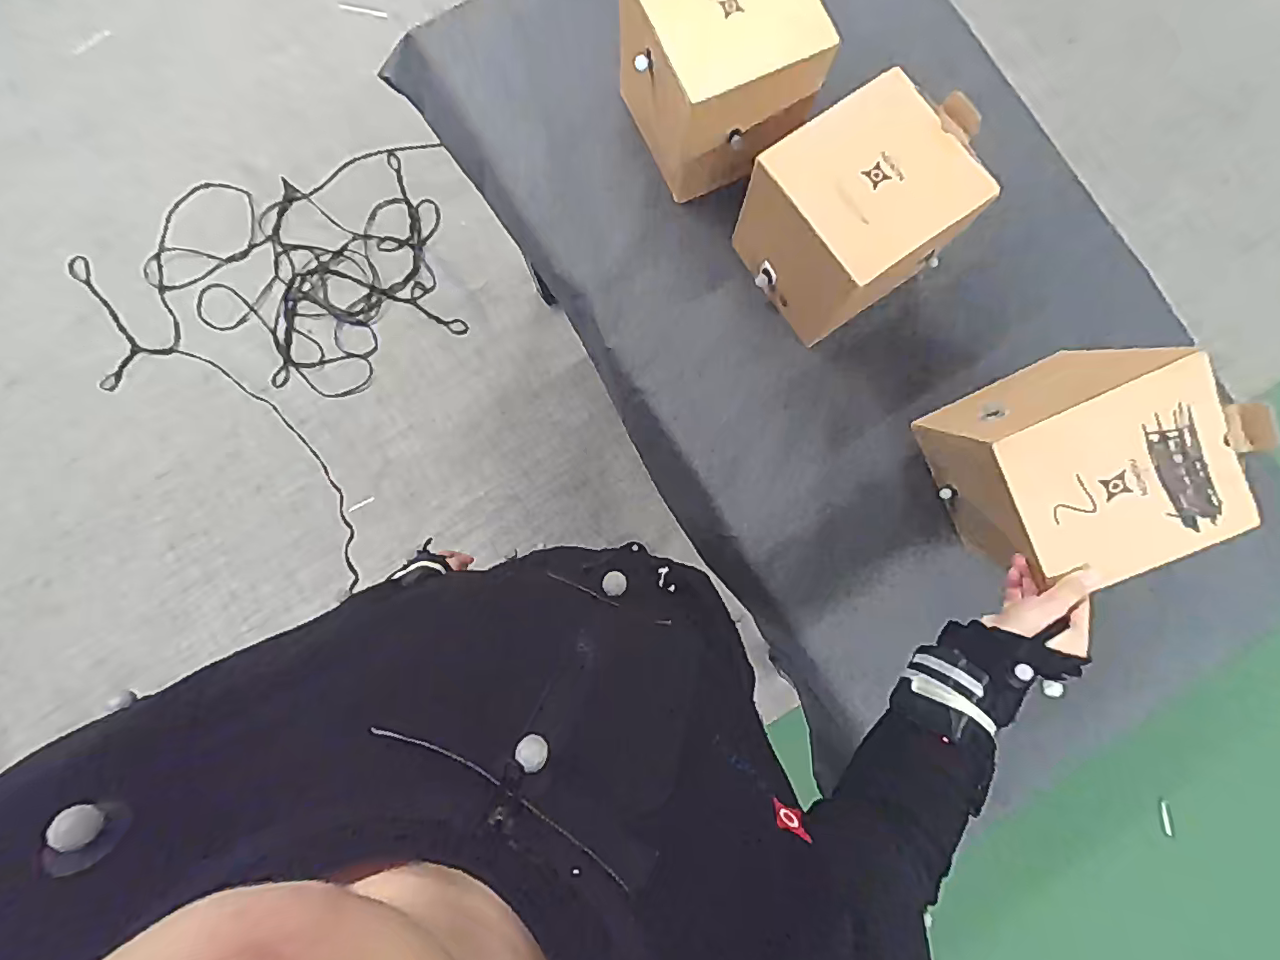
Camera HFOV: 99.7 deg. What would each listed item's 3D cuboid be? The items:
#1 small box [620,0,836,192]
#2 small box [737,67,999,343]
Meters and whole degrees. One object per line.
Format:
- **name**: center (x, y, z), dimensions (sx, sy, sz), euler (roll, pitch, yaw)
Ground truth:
- **small box**: center (0.087, -0.466, 0.617), dimensions (0.168, 0.176, 0.179), euler (-25, 85, -4)
- **small box**: center (0.231, -0.286, 0.600), dimensions (0.179, 0.176, 0.168), euler (-36, 84, -4)
